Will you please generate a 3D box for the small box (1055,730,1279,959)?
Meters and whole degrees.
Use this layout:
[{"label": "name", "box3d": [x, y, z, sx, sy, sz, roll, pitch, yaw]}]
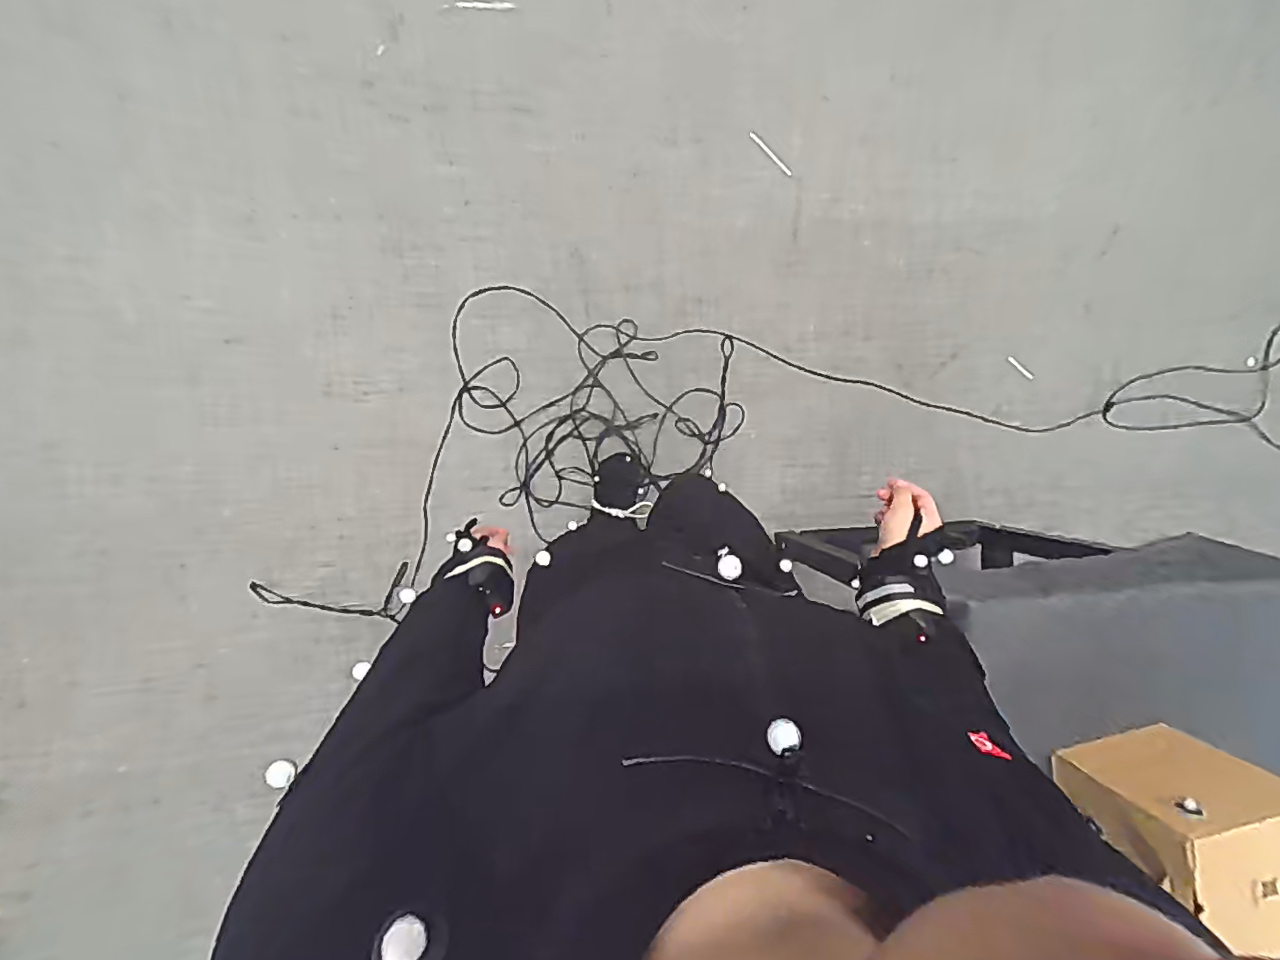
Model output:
[{"label": "small box", "box3d": [0.655, 0.432, 0.652, 0.179, 0.176, 0.168, -11, 95, -6]}]
